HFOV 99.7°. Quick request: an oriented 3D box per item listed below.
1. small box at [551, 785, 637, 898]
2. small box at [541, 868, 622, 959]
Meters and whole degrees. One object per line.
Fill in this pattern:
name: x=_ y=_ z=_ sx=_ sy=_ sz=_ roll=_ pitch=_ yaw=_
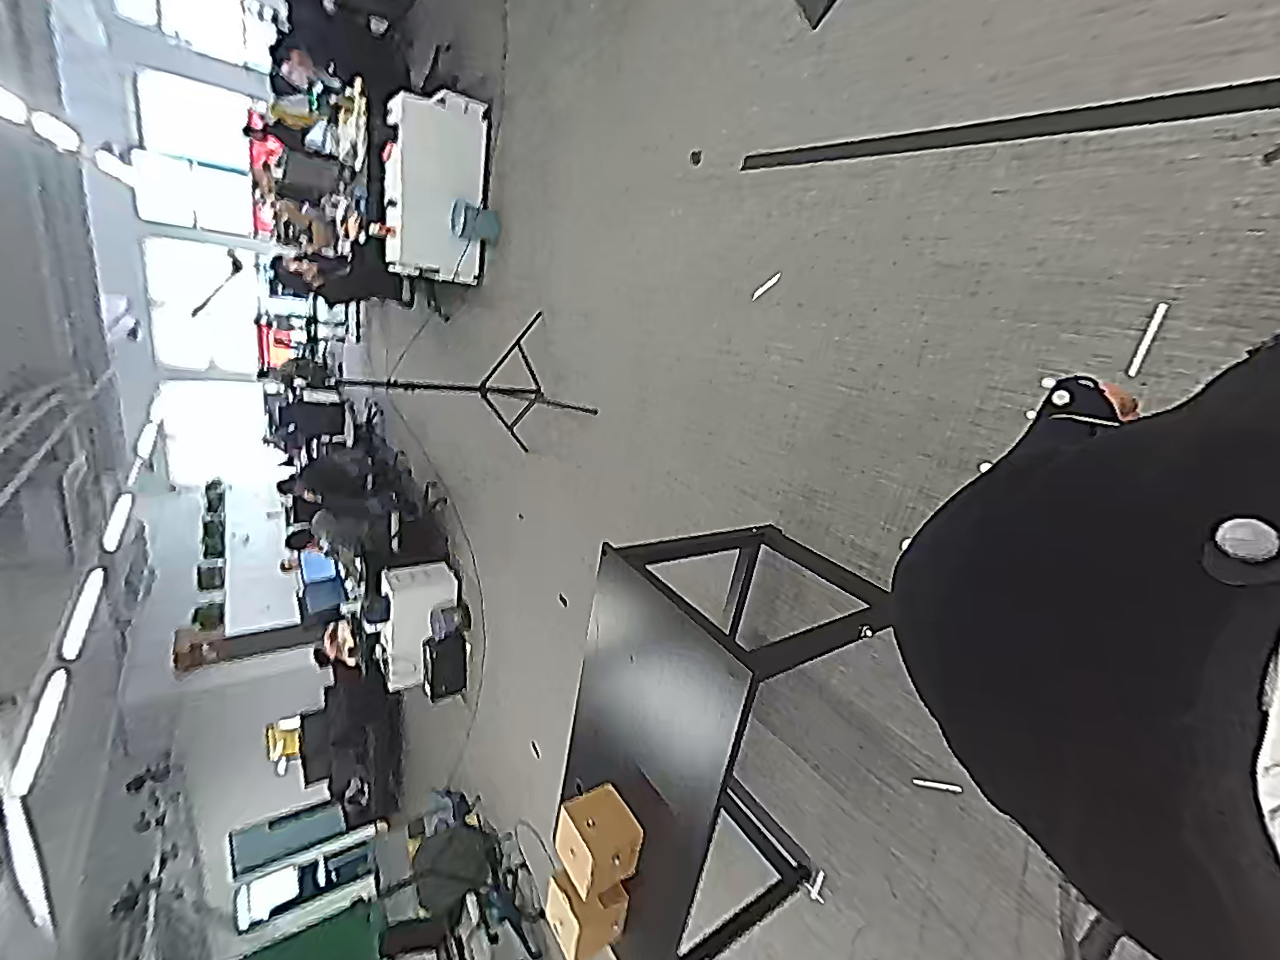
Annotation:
small box: x=-0.128 y=0.998 z=1.513 sx=0.179 sy=0.176 sz=0.168 roll=32 pitch=117 yaw=49
small box: x=-0.170 y=1.246 z=1.589 sx=0.168 sy=0.176 sz=0.179 roll=30 pitch=116 yaw=49
